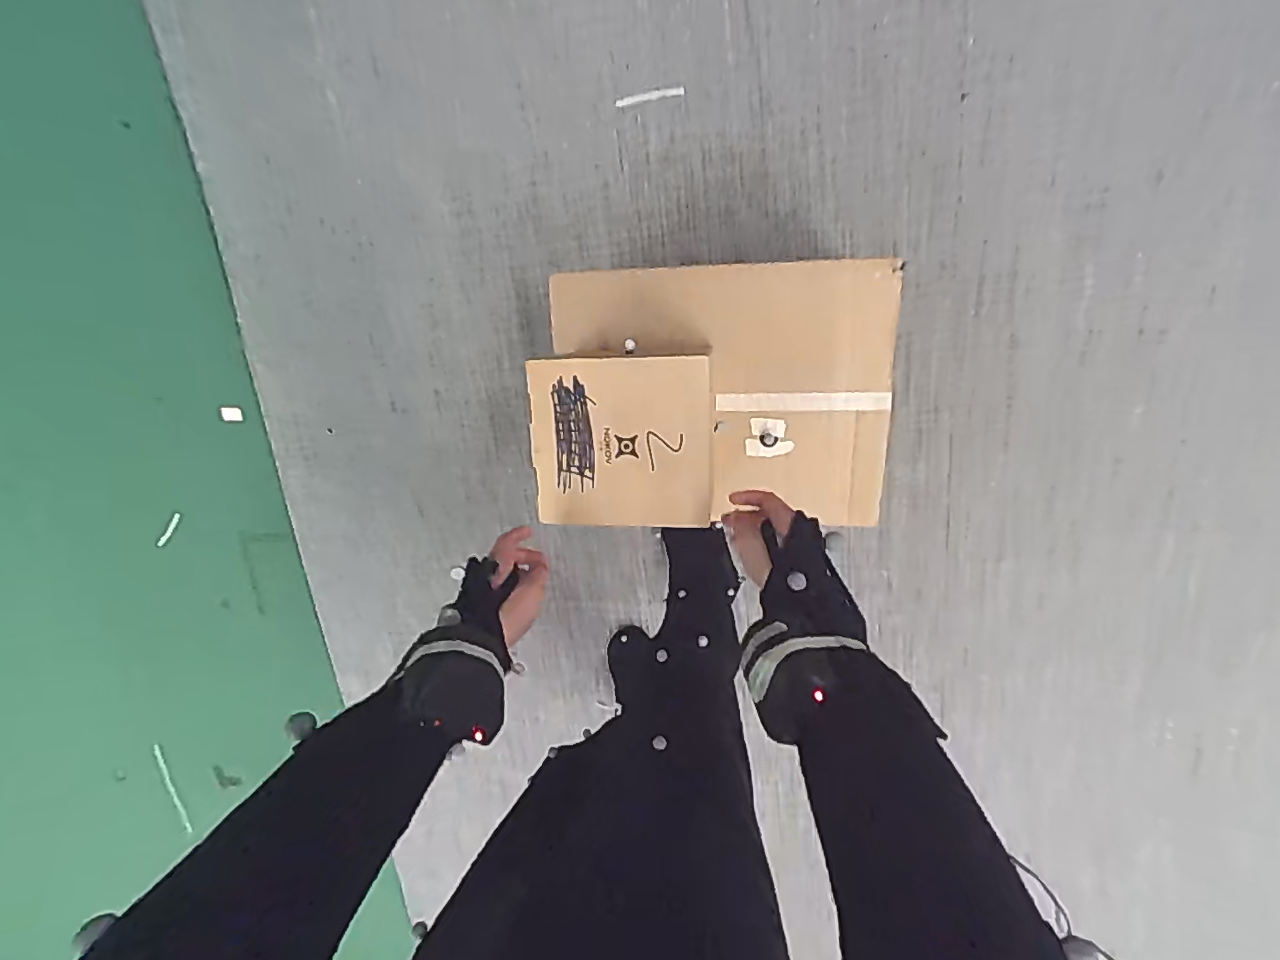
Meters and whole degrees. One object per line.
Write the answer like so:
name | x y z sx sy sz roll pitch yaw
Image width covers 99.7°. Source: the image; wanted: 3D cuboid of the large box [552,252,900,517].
large box | 0.117 -0.140 0.801 0.408 0.320 0.320 1 107 9
